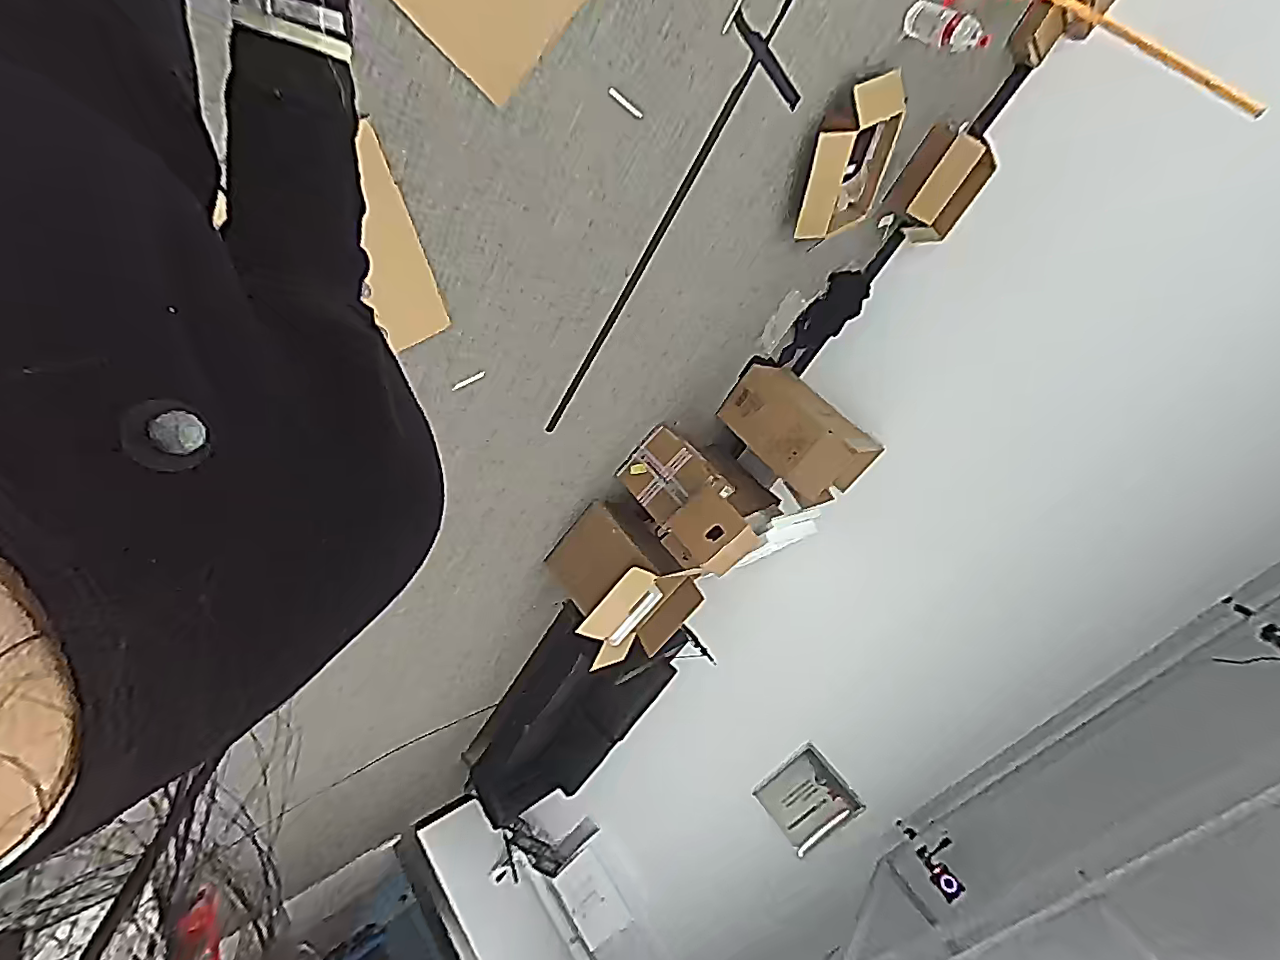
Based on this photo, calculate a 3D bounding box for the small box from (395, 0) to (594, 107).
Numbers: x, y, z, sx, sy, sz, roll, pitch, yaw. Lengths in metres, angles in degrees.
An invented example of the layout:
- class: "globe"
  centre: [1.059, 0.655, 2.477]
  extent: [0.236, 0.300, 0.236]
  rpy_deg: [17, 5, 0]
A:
- class: "small box"
  centre: [-0.086, -0.304, 0.196]
  extent: [0.179, 0.176, 0.168]
  rpy_deg: [-42, 178, 18]
